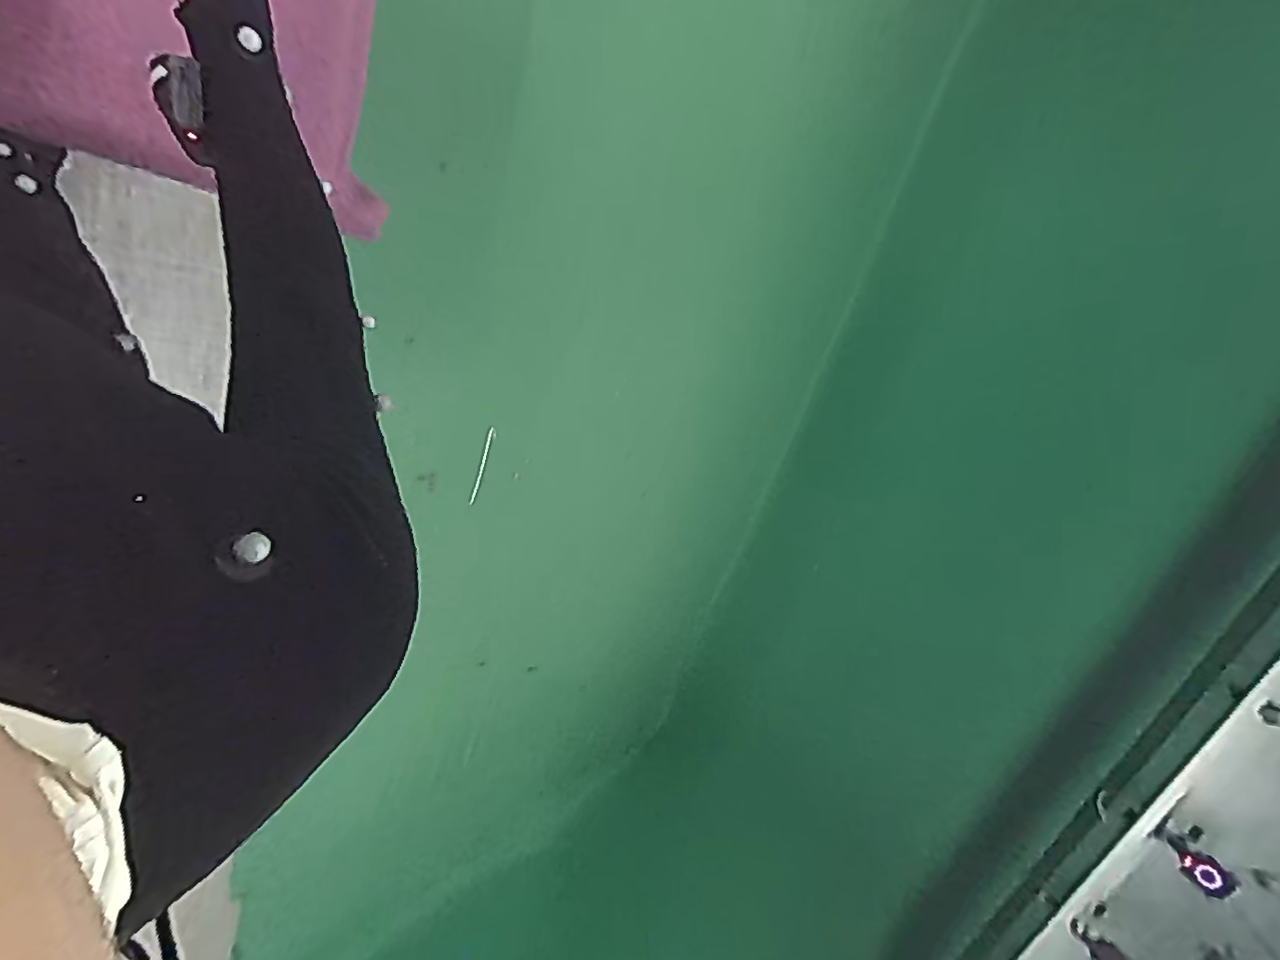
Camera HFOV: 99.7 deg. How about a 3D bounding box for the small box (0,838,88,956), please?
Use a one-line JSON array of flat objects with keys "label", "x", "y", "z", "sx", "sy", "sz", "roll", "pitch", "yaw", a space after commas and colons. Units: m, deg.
[{"label": "small box", "x": -1.685, "y": 1.155, "z": 1.509, "sx": 0.179, "sy": 0.176, "sz": 0.168, "roll": 1, "pitch": 115, "yaw": -52}]
